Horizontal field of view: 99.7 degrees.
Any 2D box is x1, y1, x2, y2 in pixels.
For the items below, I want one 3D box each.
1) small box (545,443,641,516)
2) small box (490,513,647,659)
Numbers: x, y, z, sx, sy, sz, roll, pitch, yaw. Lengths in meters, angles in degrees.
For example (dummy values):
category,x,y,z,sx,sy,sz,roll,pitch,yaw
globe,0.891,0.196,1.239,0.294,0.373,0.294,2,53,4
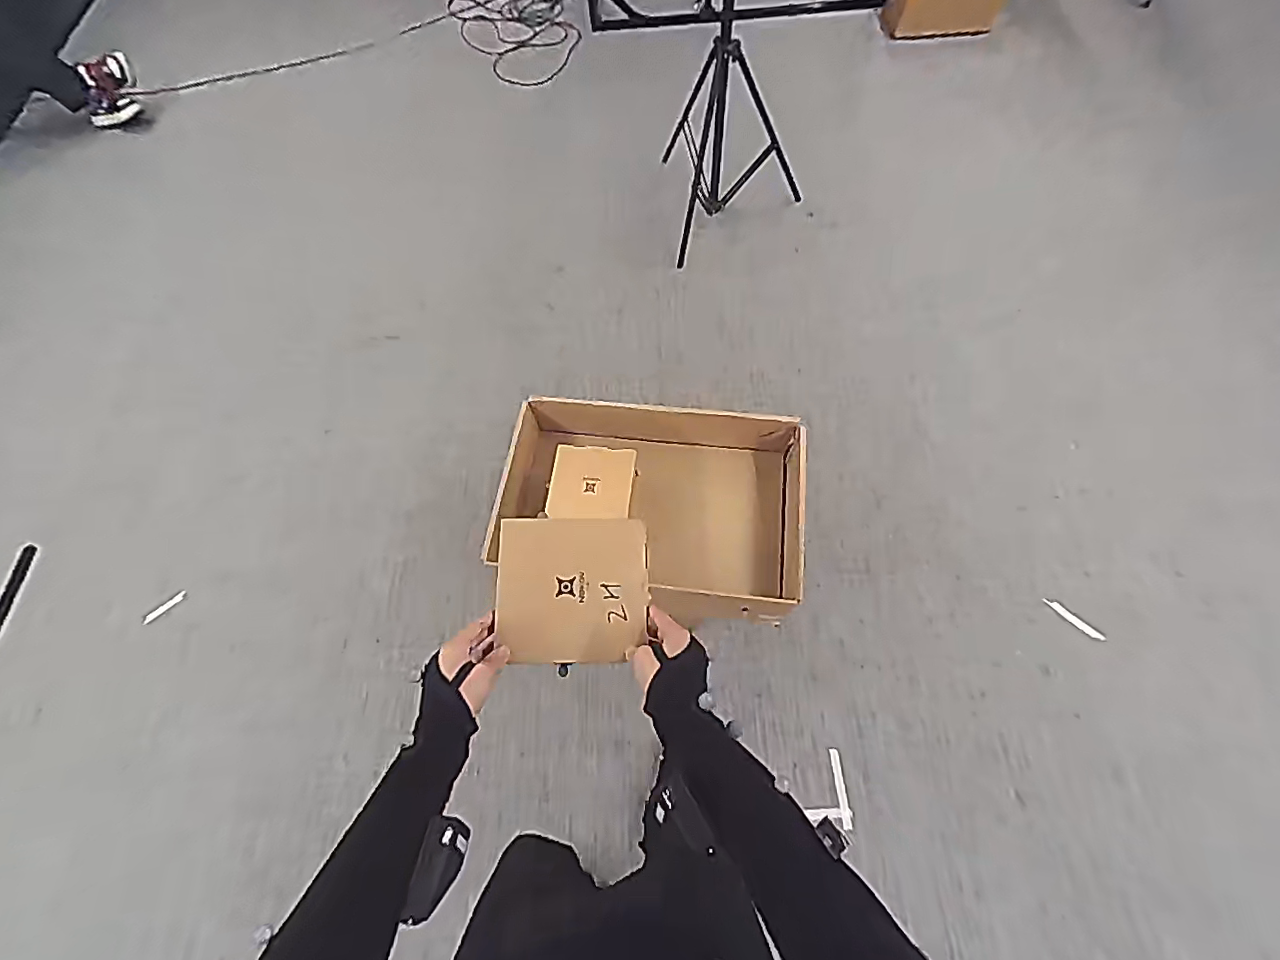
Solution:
category,x,y,z,sx,sy,sz,roll,pitch,yaw
small box,-0.090,0.042,1.136,0.168,0.176,0.179,5,65,6
small box,-0.084,0.143,0.696,0.179,0.176,0.168,1,73,-5
